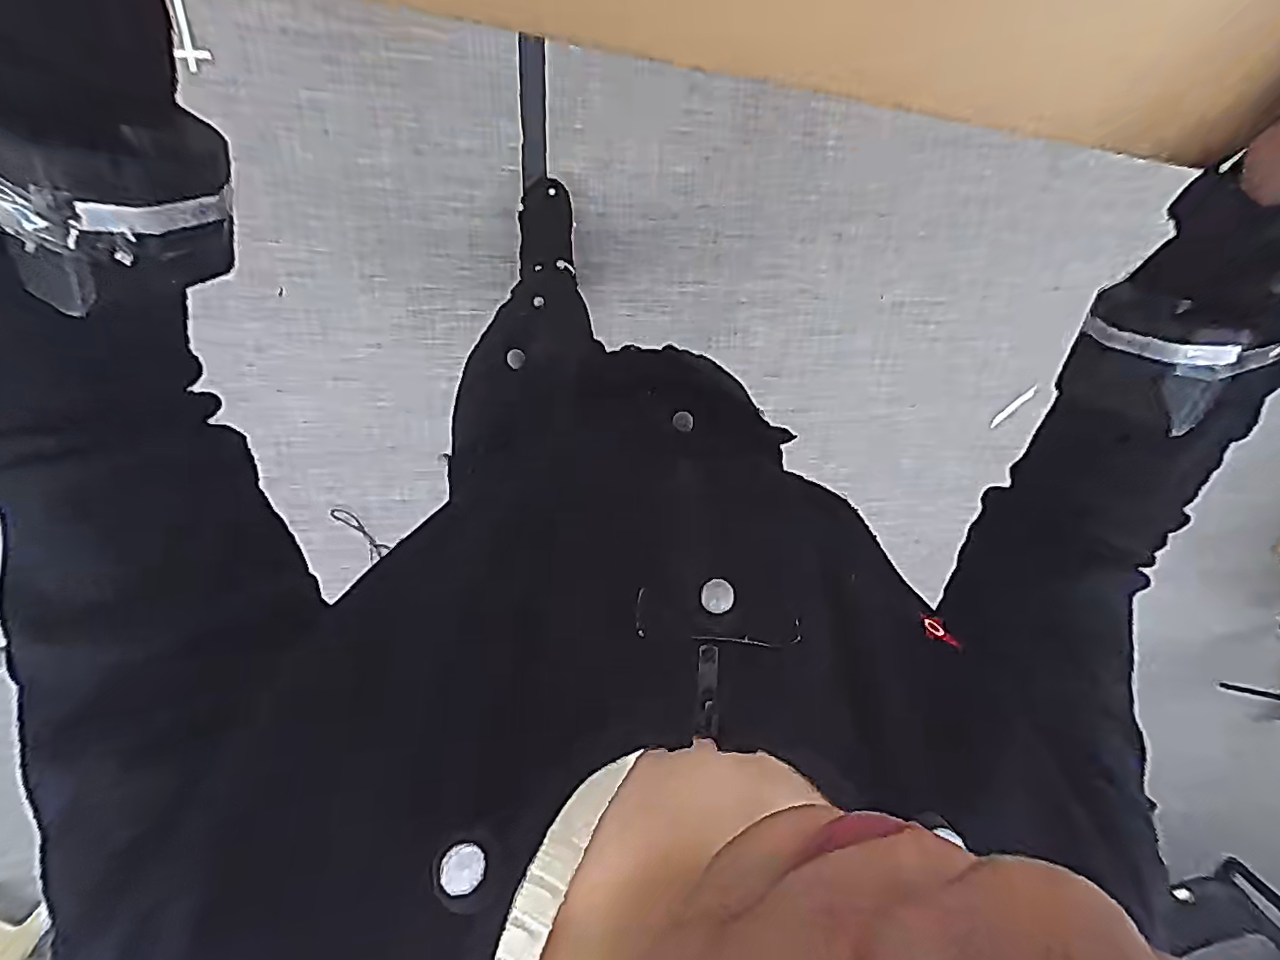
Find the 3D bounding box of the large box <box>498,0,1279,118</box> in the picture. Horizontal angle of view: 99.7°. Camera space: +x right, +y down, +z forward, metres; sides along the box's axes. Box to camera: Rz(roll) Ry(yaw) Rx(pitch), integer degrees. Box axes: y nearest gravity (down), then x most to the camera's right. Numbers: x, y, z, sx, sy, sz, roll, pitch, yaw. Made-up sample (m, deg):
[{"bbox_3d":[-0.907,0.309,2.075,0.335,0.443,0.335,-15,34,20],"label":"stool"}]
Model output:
[{"bbox_3d":[0.074,-0.350,0.105,0.408,0.320,0.320,2,73,-10],"label":"large box"}]
